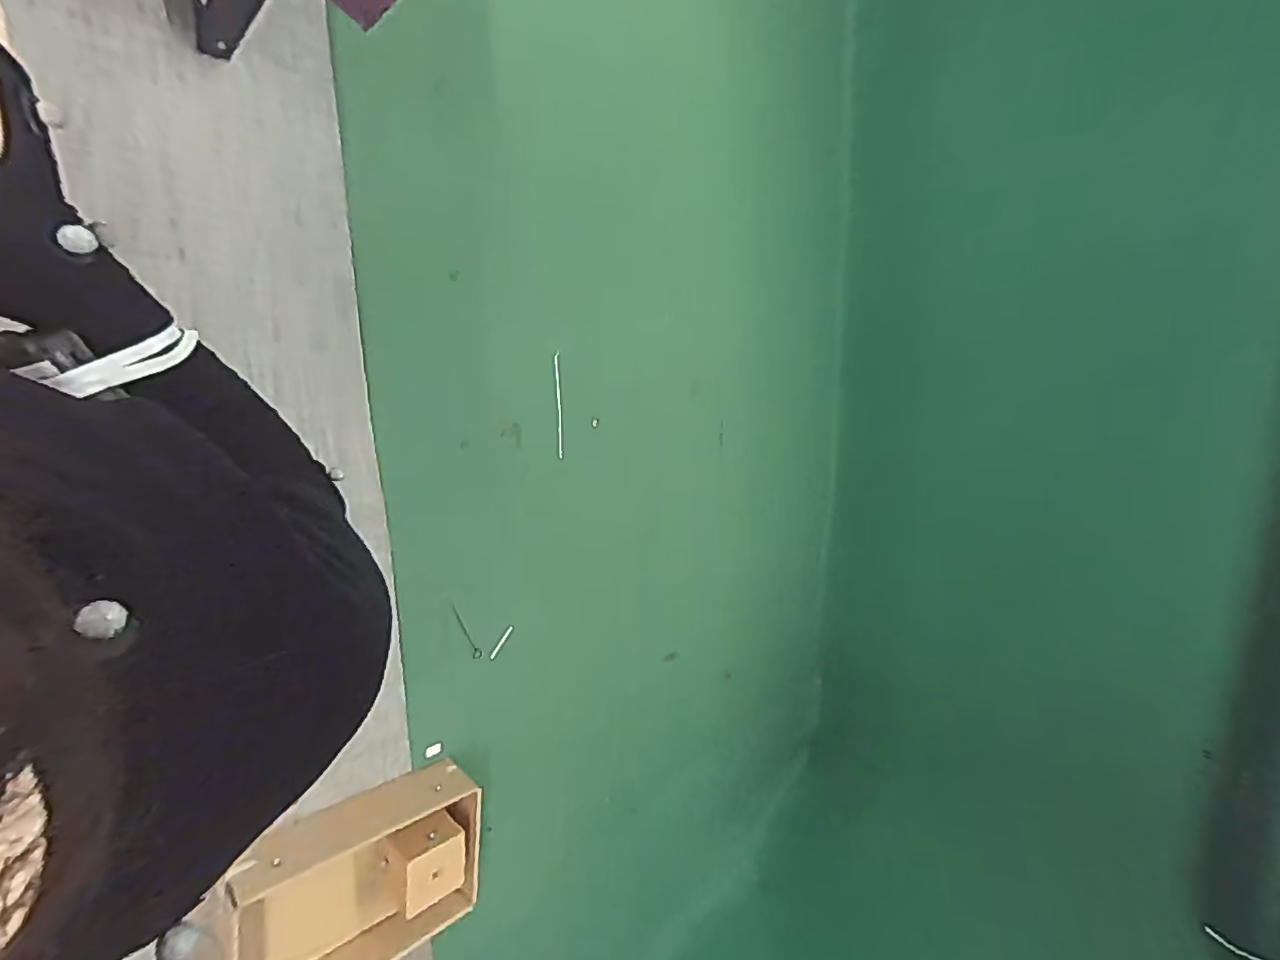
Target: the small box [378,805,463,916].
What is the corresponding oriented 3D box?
[{"bbox_3d":[-0.640,1.096,1.579,0.179,0.176,0.168,-3,97,-49],"label":"small box"}]
